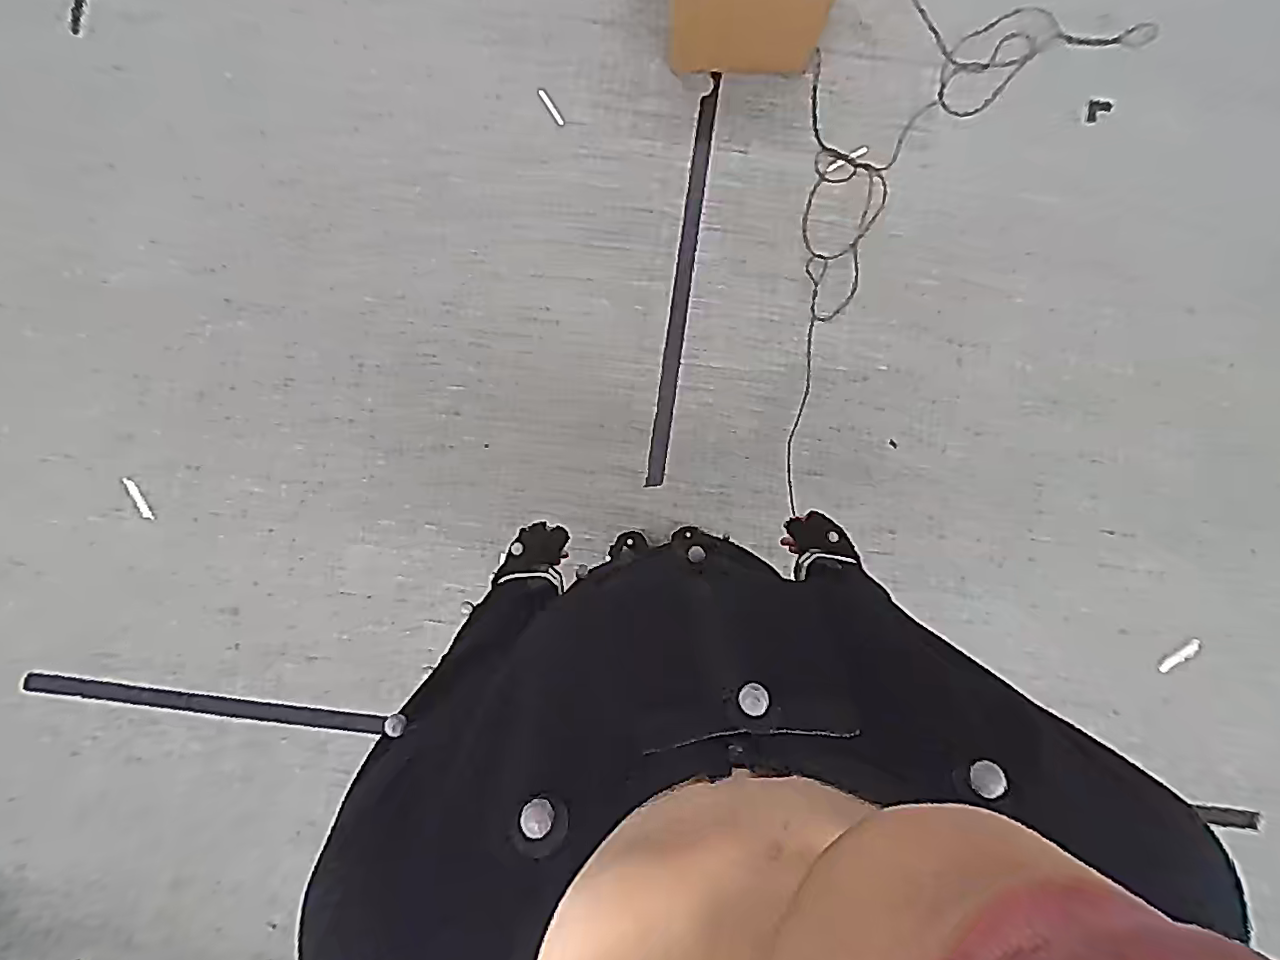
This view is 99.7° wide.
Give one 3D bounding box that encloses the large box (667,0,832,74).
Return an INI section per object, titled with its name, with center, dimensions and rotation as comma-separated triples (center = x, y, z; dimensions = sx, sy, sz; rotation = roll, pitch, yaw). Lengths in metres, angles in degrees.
[large box]
center = 0.281, -1.344, 1.439
dimensions = 0.408, 0.320, 0.320
rotation = 0, 86, -1
